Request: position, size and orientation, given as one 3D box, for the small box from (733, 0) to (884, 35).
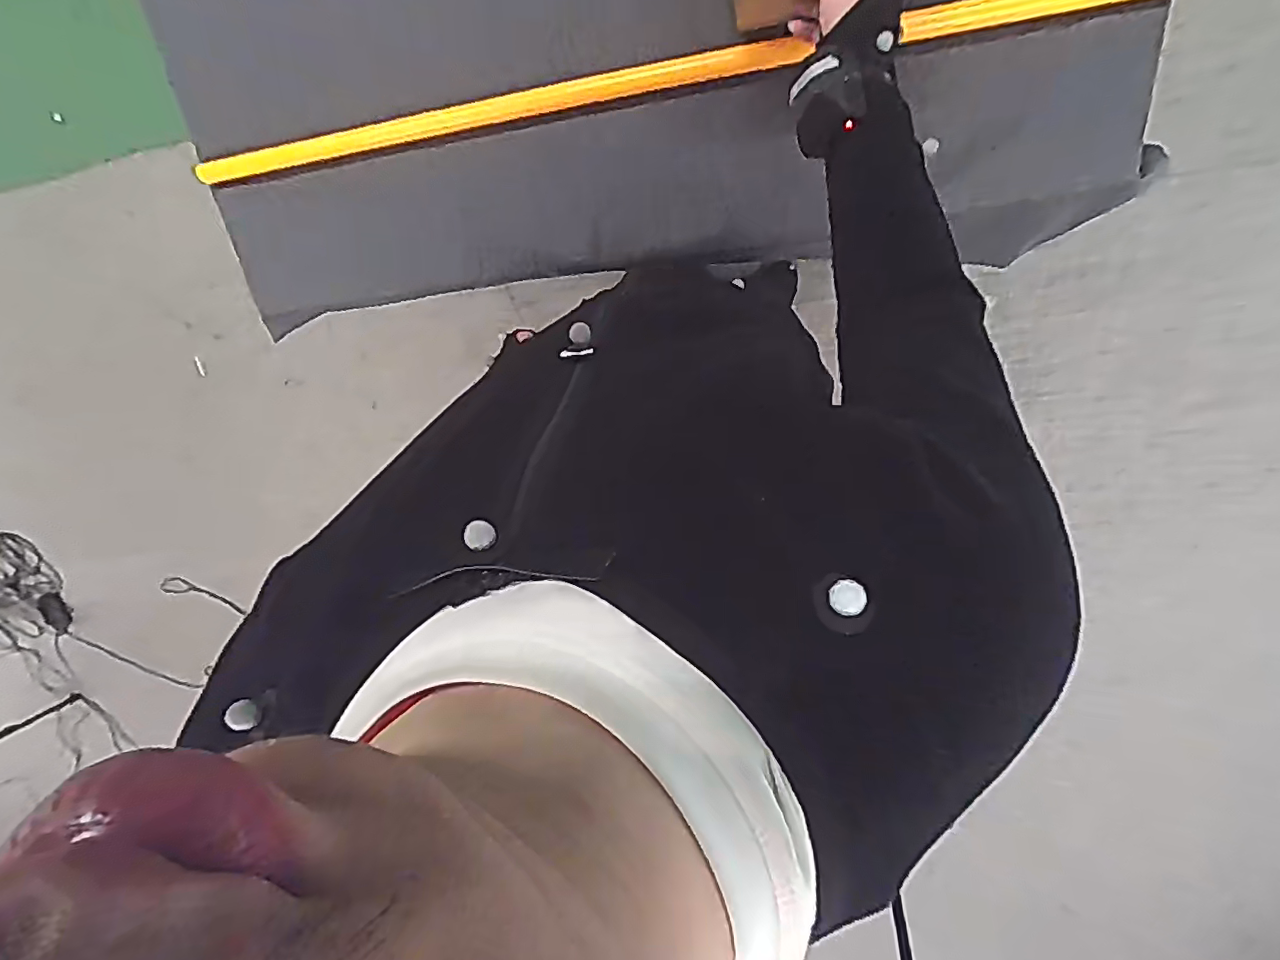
[{"bbox_3d":[0.166,-0.555,0.502,0.168,0.176,0.179,-4,111,19],"label":"small box"}]
